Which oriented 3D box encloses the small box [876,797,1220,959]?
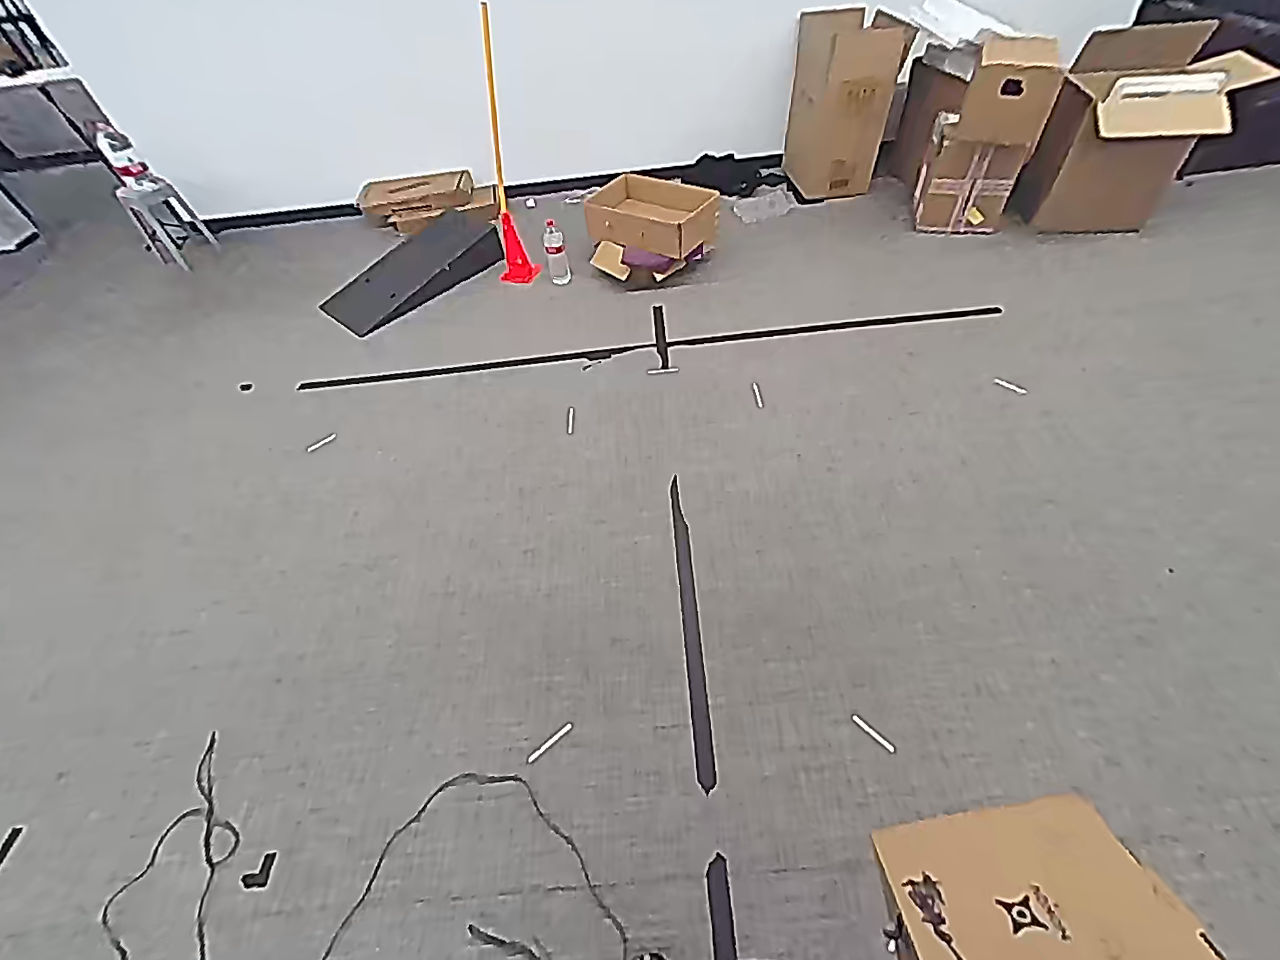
[{"bbox_3d":[0.305,0.384,0.409,0.179,0.176,0.168,-14,15,8],"label":"small box"}]
